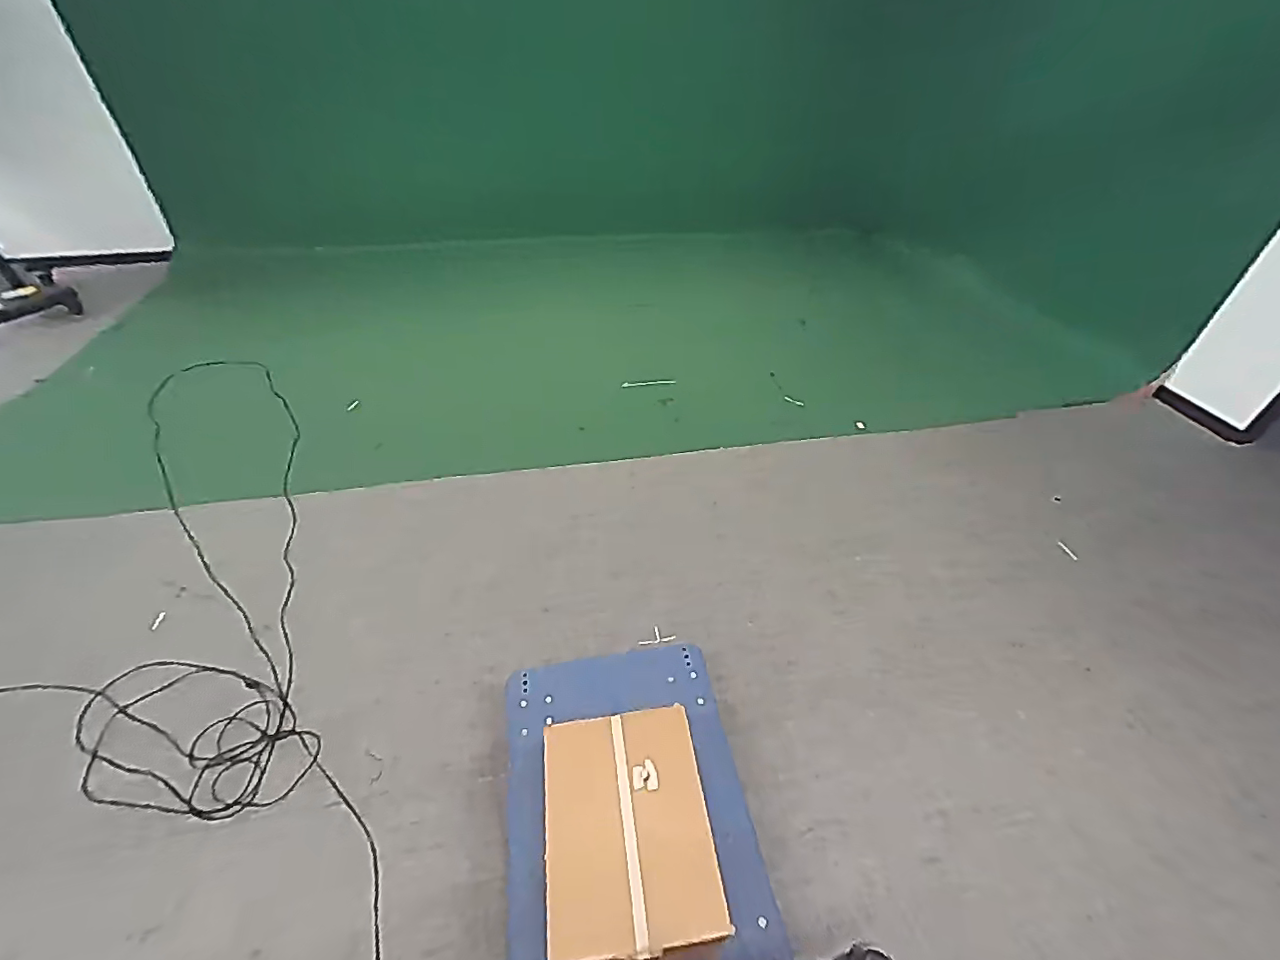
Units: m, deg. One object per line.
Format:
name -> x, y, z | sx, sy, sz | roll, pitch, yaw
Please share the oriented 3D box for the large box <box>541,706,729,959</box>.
large box -> -0.031, 0.756, 1.130 | 0.320, 0.320, 0.408 | -4, 41, -7
